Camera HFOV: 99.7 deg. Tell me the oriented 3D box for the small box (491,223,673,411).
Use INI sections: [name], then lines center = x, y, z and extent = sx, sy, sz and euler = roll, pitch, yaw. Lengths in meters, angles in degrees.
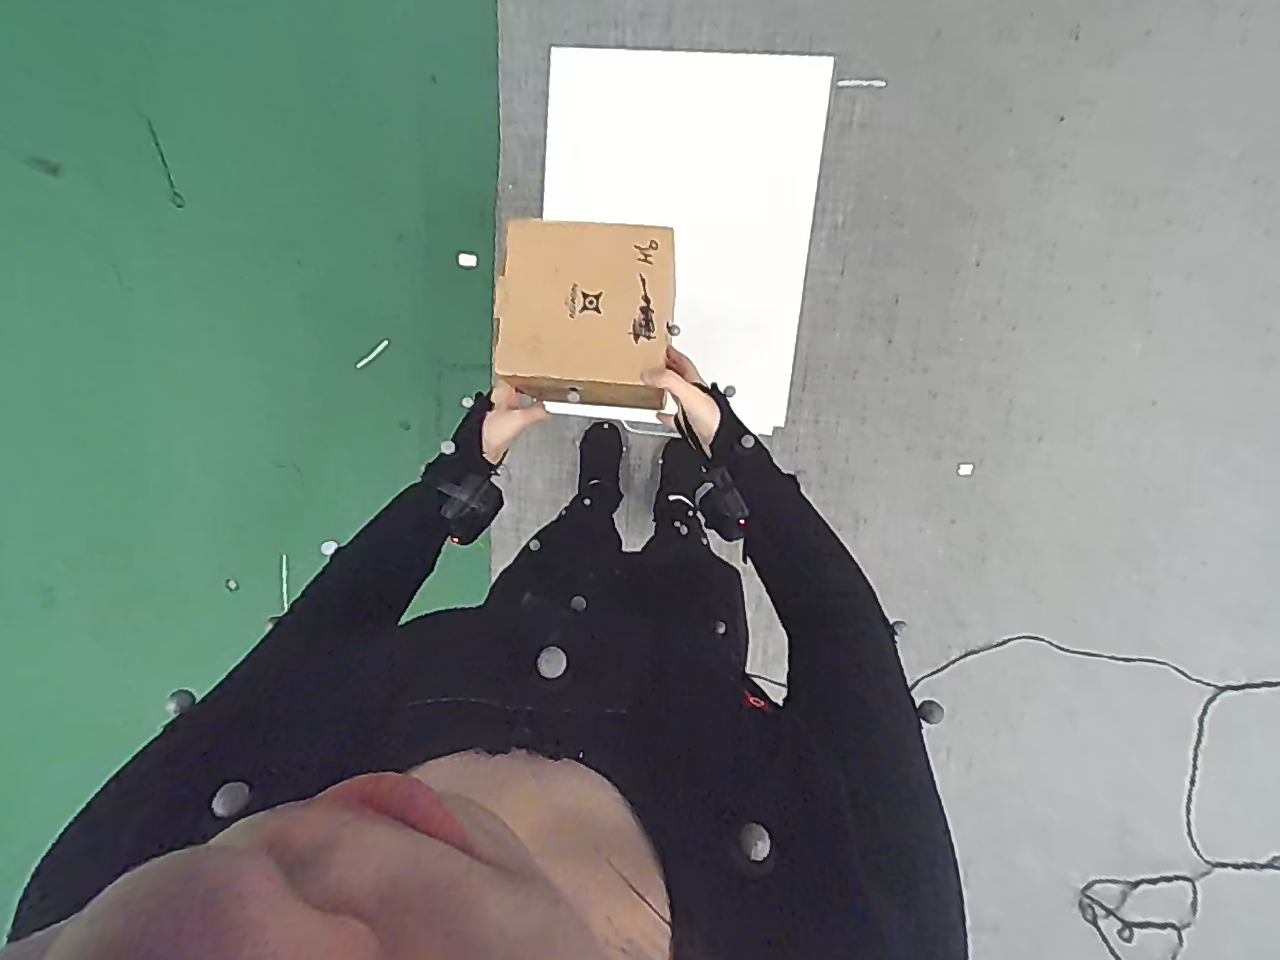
[small box]
center = -0.056, -0.179, 0.639
extent = 0.179, 0.176, 0.168
euler = 5, 88, 4
